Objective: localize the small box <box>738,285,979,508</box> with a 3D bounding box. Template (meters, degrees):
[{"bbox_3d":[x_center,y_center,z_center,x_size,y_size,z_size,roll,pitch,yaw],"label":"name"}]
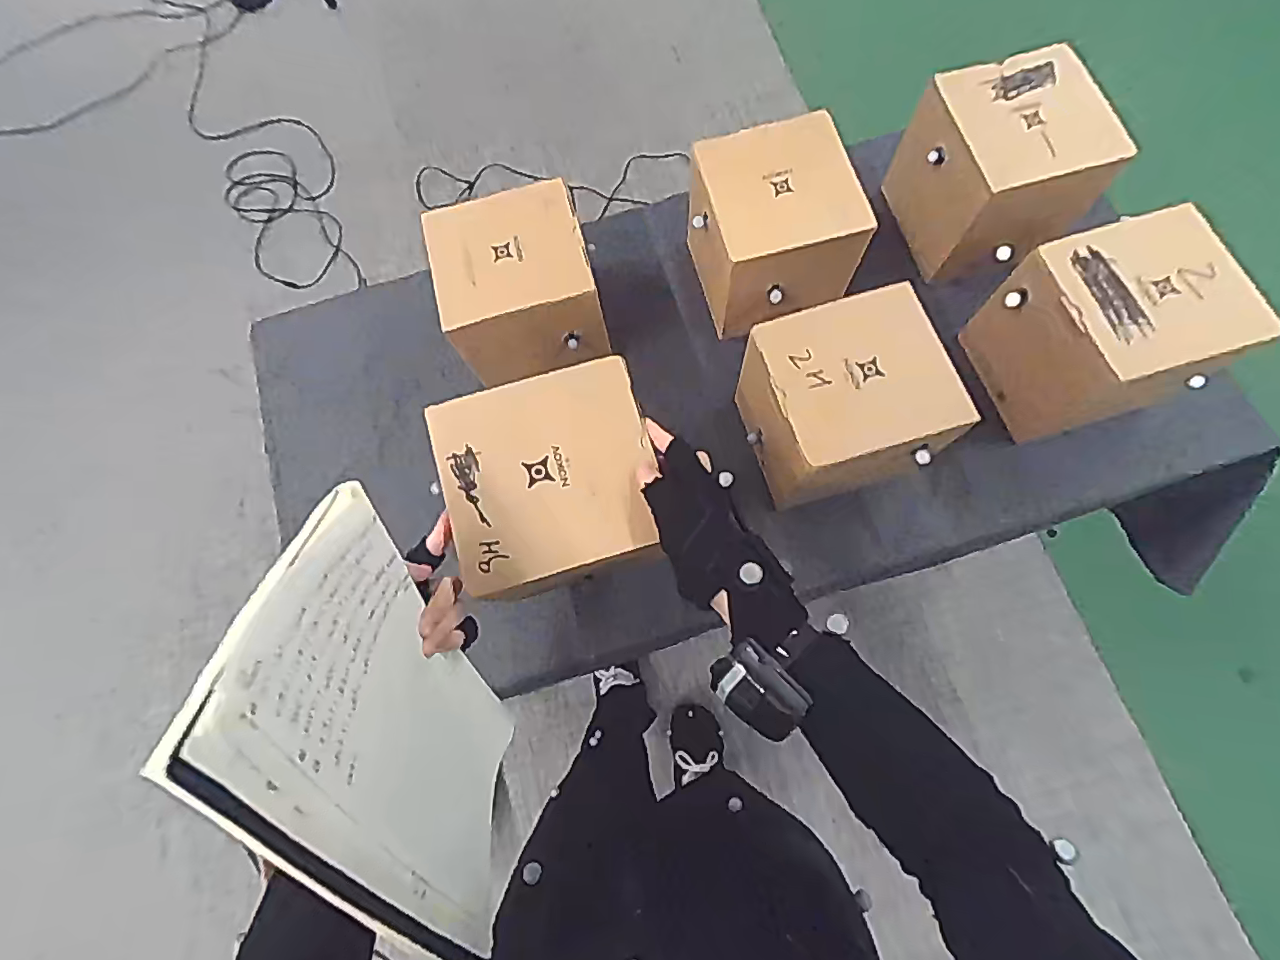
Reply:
[{"bbox_3d":[0.225,-0.083,0.612,0.179,0.176,0.168,-16,72,-2],"label":"small box"}]

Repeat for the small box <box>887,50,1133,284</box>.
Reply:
[{"bbox_3d":[0.445,-0.386,0.688,0.168,0.176,0.179,-14,74,0],"label":"small box"}]

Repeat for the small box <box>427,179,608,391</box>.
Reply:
[{"bbox_3d":[-0.142,-0.235,0.686,0.179,0.176,0.168,-15,73,-1],"label":"small box"}]

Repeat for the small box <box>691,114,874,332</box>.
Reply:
[{"bbox_3d":[0.166,-0.309,0.689,0.168,0.176,0.179,-14,73,0],"label":"small box"}]
